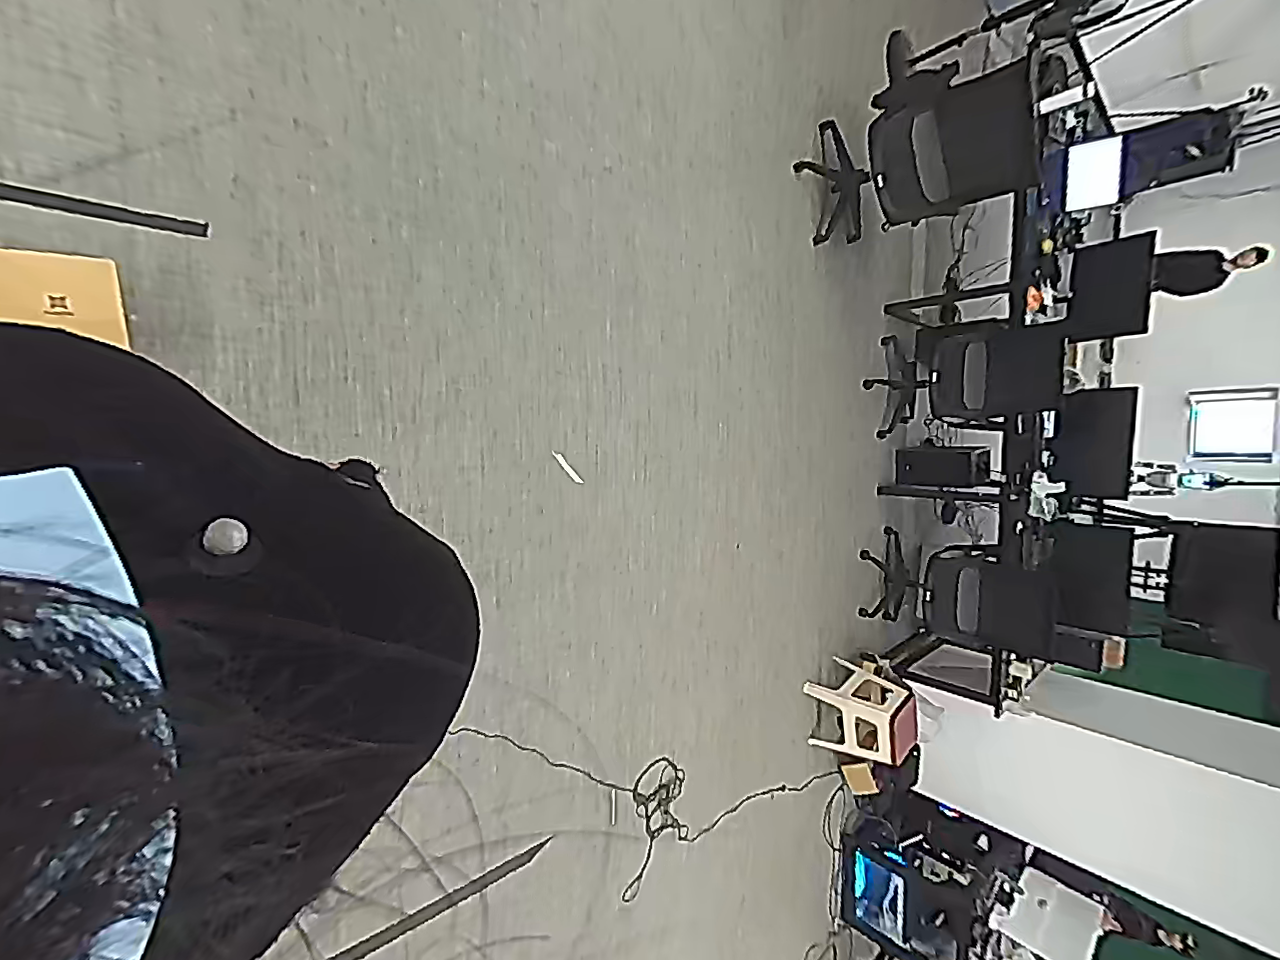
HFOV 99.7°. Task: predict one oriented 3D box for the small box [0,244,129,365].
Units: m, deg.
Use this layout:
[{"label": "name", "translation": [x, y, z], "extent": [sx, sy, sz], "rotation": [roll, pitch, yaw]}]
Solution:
[{"label": "small box", "translation": [-1.053, -0.308, 0.980], "extent": [0.168, 0.176, 0.179], "rotation": [-10, 100, -42]}]
